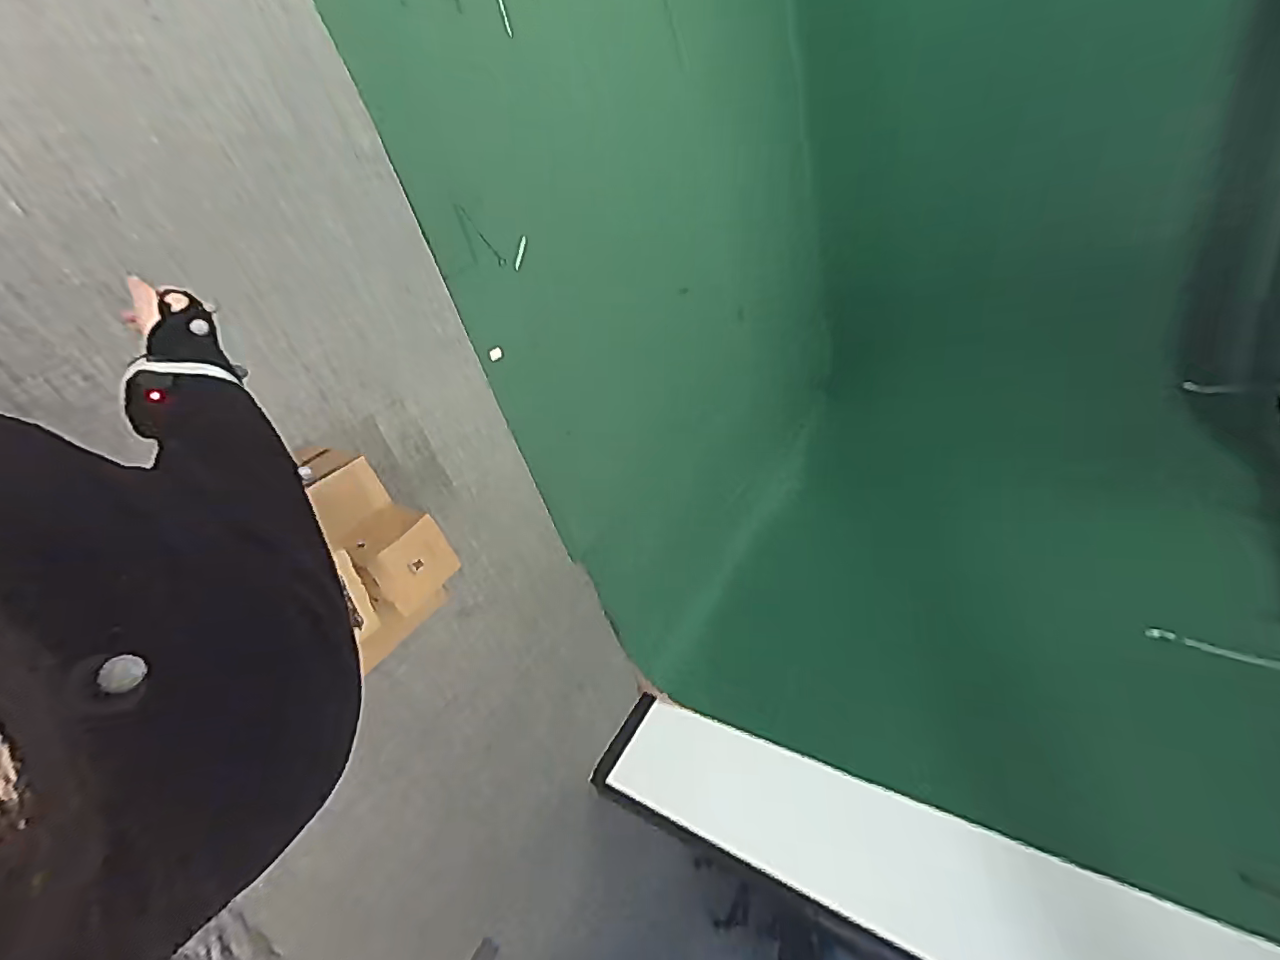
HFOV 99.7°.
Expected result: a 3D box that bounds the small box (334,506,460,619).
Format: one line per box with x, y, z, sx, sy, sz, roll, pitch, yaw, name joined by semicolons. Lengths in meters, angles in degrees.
-0.555;0.180;1.225;0.179;0.176;0.168;-49;133;-38;small box
